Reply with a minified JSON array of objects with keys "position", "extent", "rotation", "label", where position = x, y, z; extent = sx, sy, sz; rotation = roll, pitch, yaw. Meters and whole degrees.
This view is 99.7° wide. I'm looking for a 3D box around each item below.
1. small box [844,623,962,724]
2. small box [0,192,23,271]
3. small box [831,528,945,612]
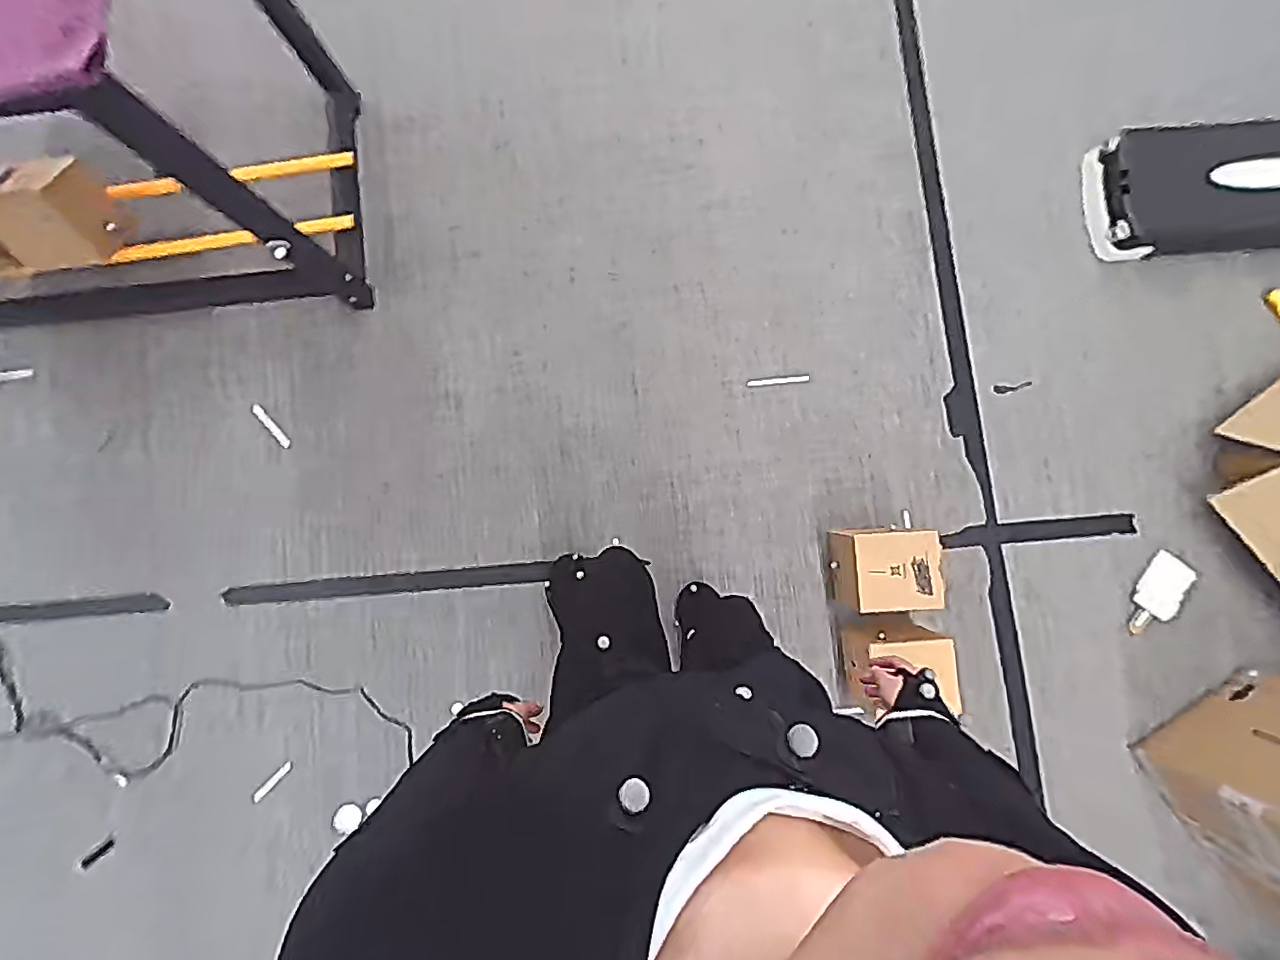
[{"position":[0.572,0.419,1.194],"extent":[0.179,0.176,0.168],"rotation":[-5,87,2],"label":"small box"},{"position":[-1.540,-0.579,1.195],"extent":[0.168,0.176,0.179],"rotation":[-9,87,1],"label":"small box"},{"position":[0.545,0.194,1.206],"extent":[0.179,0.176,0.168],"rotation":[-3,86,2],"label":"small box"}]
